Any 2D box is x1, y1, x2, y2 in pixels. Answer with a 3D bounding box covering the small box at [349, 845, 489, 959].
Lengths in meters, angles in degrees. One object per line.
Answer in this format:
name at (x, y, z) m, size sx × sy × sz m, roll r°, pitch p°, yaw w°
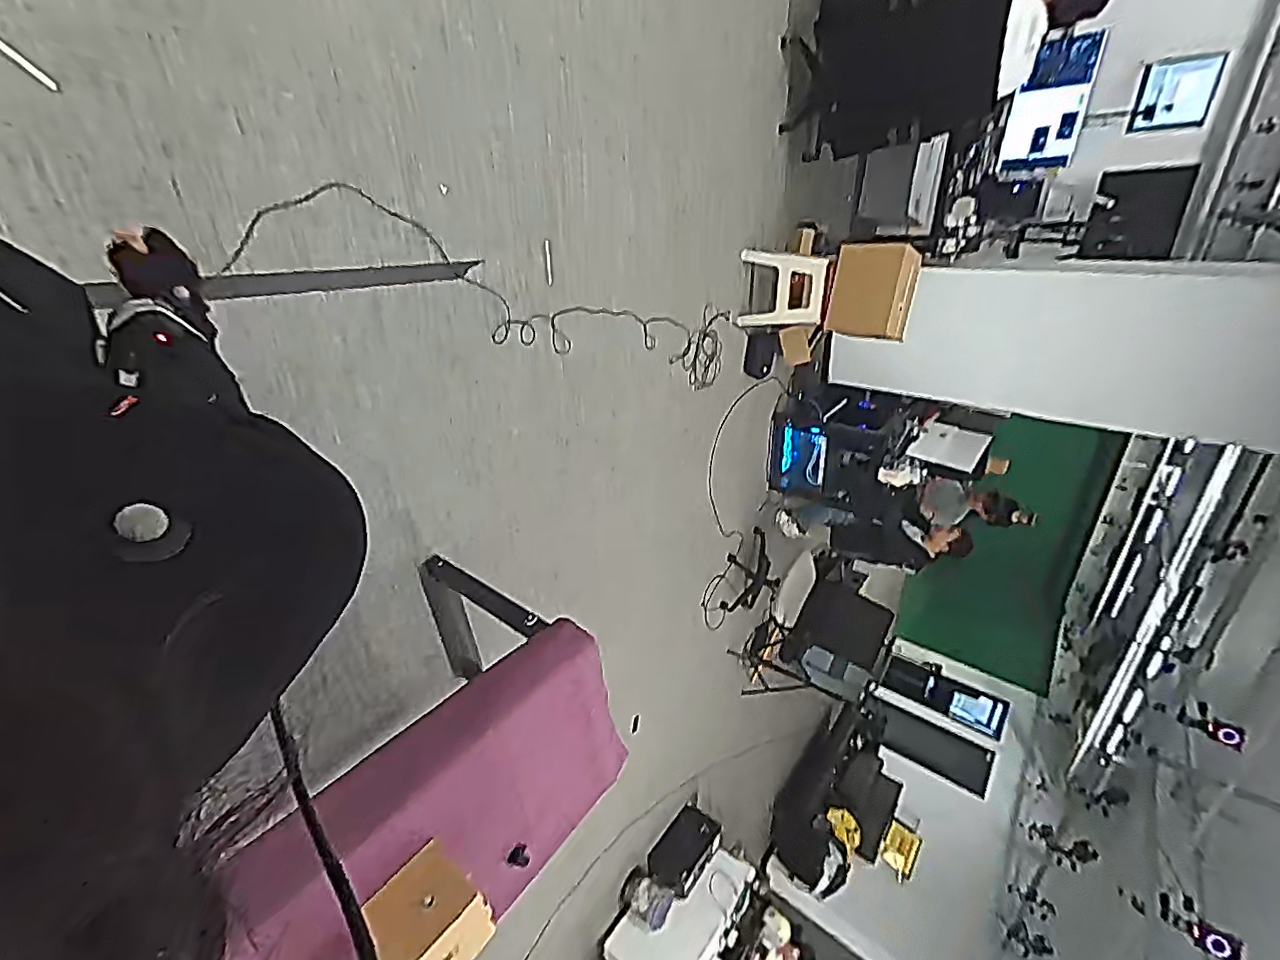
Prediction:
small box at (-0.432, 0.878, 1.067) m, size 0.179 × 0.176 × 0.168 m, roll -35°, pitch 131°, yaw -42°
